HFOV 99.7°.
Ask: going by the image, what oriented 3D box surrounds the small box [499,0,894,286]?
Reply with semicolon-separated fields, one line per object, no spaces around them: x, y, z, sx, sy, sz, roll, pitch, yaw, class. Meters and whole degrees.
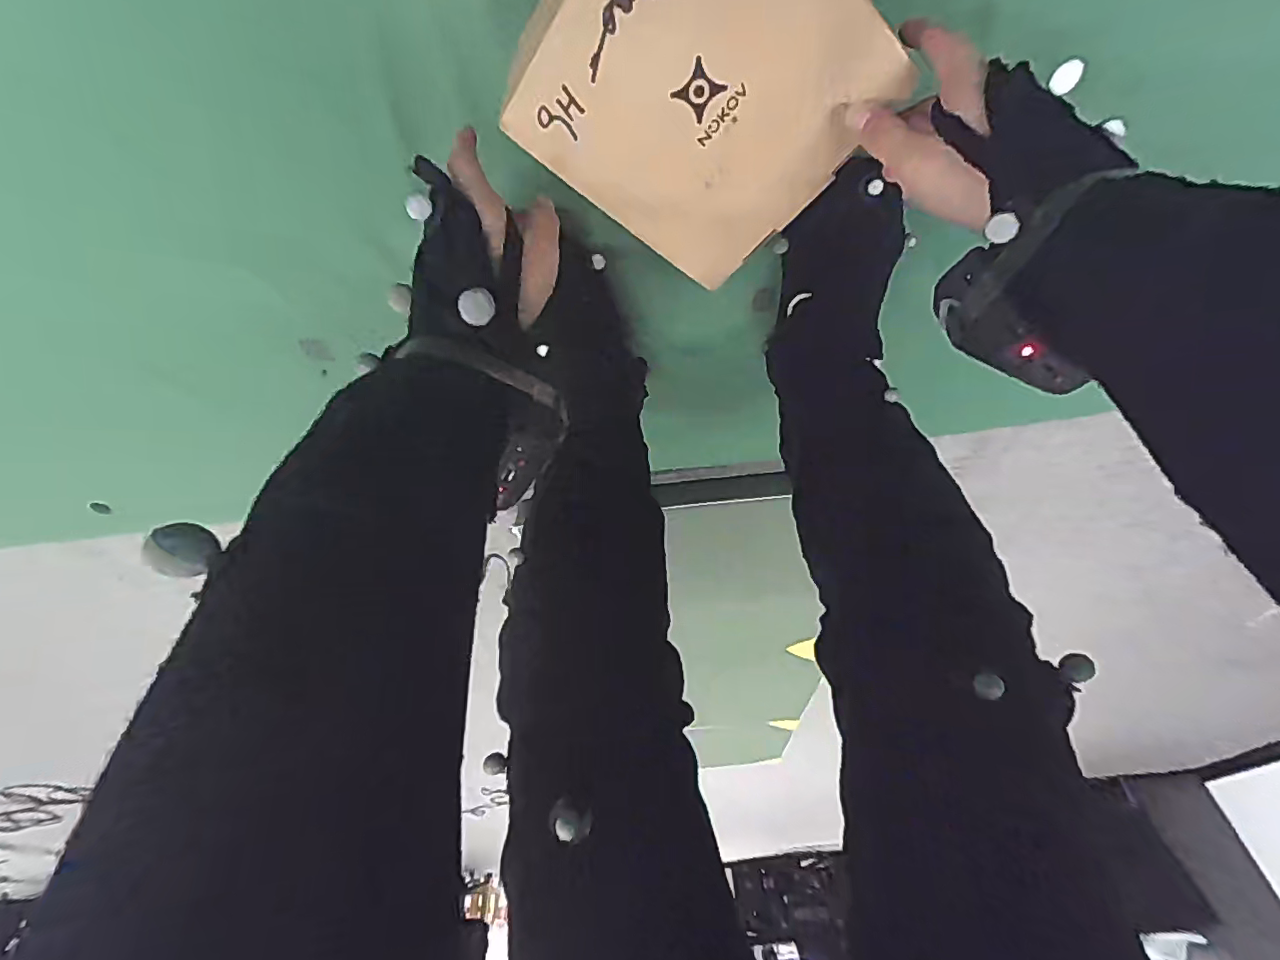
0.028;-0.278;0.363;0.179;0.176;0.168;25;131;-32;small box
